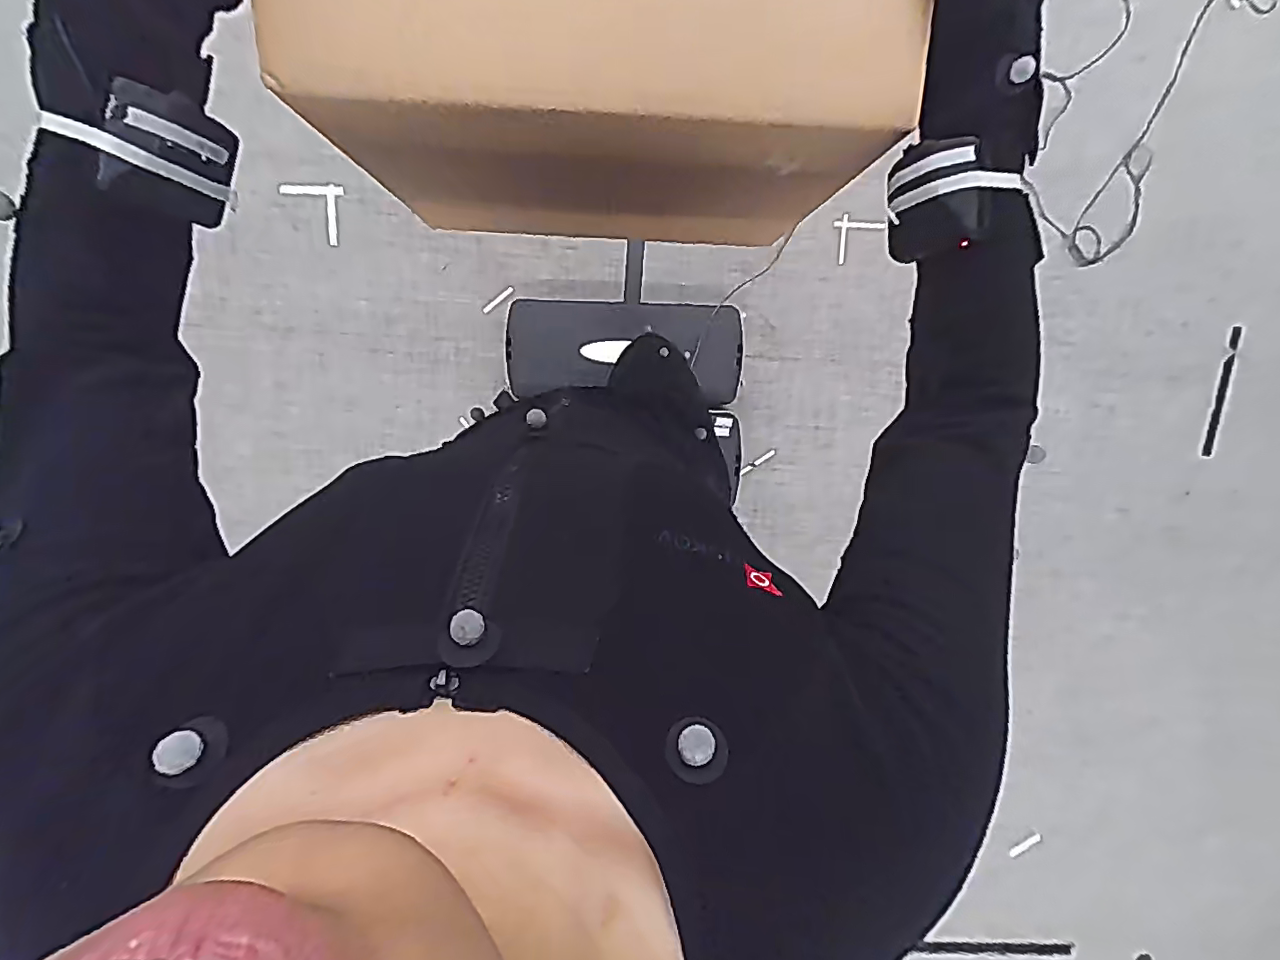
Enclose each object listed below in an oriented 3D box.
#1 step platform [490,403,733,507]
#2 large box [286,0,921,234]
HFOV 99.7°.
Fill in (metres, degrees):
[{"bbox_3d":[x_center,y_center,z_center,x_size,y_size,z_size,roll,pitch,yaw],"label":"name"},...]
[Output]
[{"bbox_3d":[-0.078,-0.074,1.556,0.684,0.204,0.286,1,98,-1],"label":"step platform"},{"bbox_3d":[-0.026,-0.417,0.466,0.408,0.320,0.320,0,101,-4],"label":"large box"}]
